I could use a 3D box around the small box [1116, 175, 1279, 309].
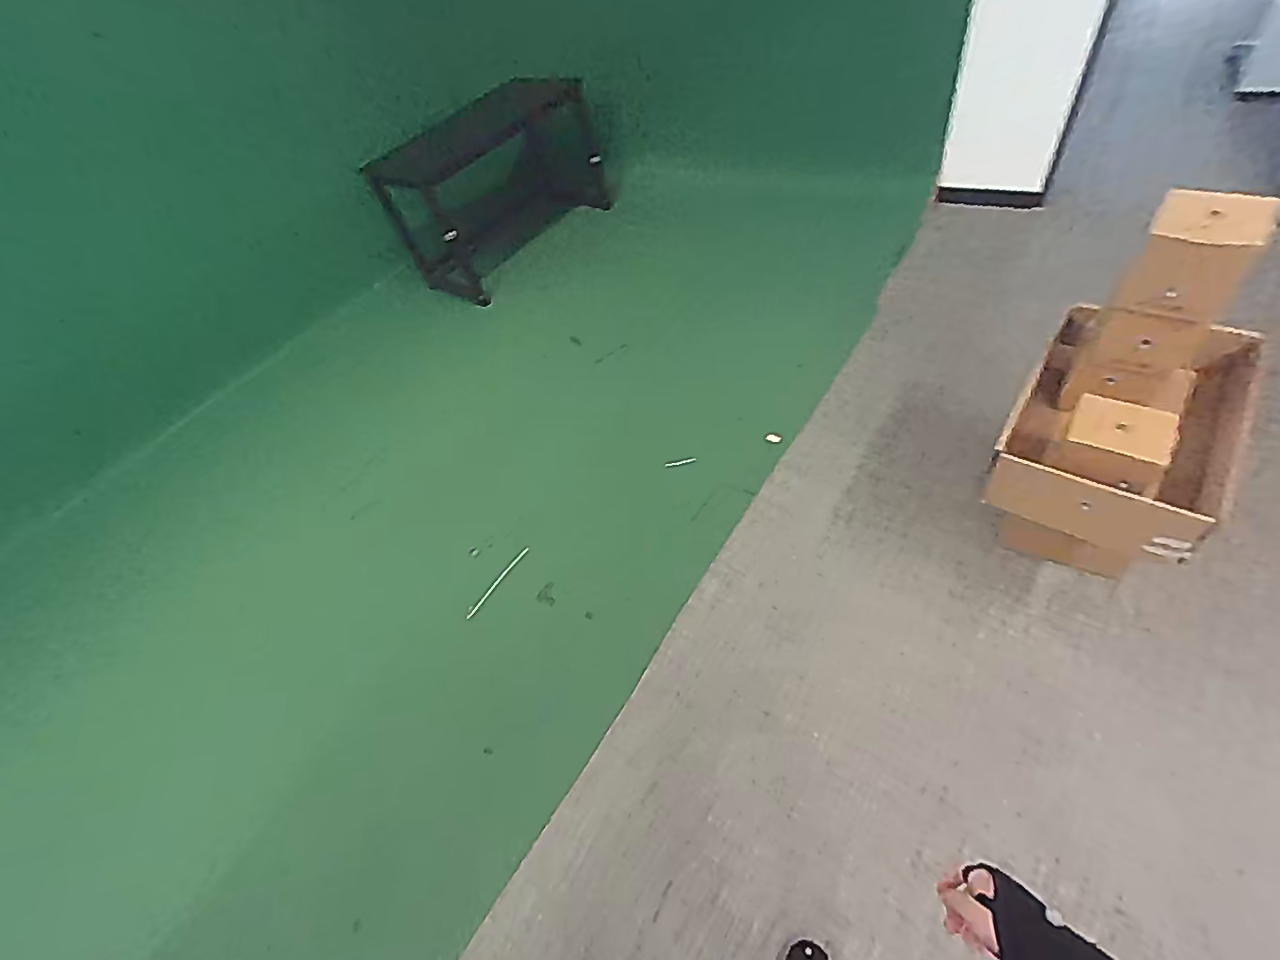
[{"bbox_3d":[1.100,-0.473,1.076,0.168,0.176,0.179,27,66,32],"label":"small box"}]

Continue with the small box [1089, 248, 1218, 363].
[{"bbox_3d":[1.146,-0.388,1.211,0.168,0.176,0.179,20,62,28],"label":"small box"}]
